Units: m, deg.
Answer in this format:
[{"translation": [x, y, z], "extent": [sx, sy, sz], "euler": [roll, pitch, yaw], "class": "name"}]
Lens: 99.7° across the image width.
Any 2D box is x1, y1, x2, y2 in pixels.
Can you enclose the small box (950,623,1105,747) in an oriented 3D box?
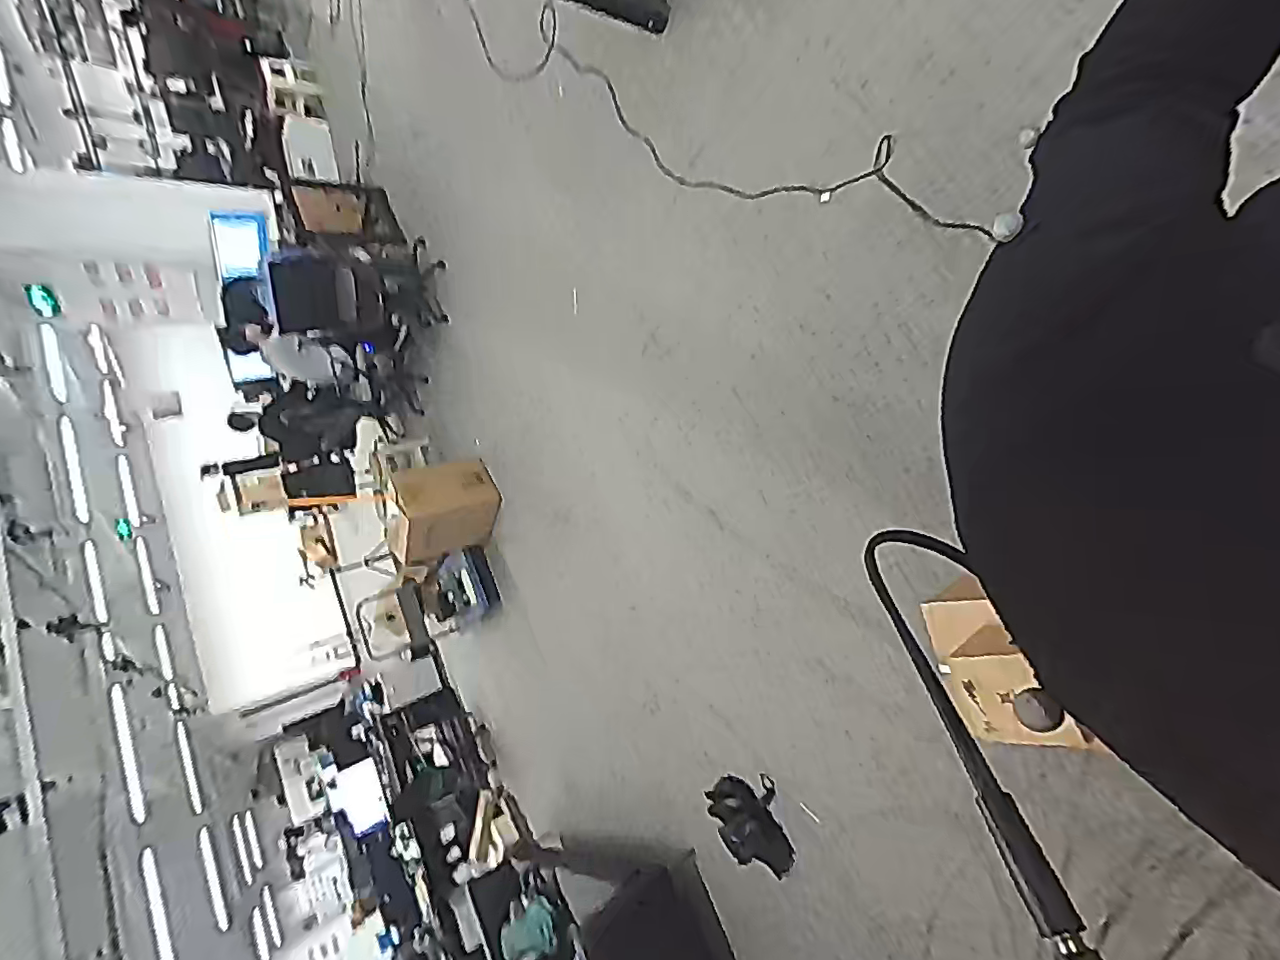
[{"translation": [0.738, 0.381, 1.024], "extent": [0.179, 0.176, 0.168], "euler": [-32, 76, 52], "class": "small box"}]
